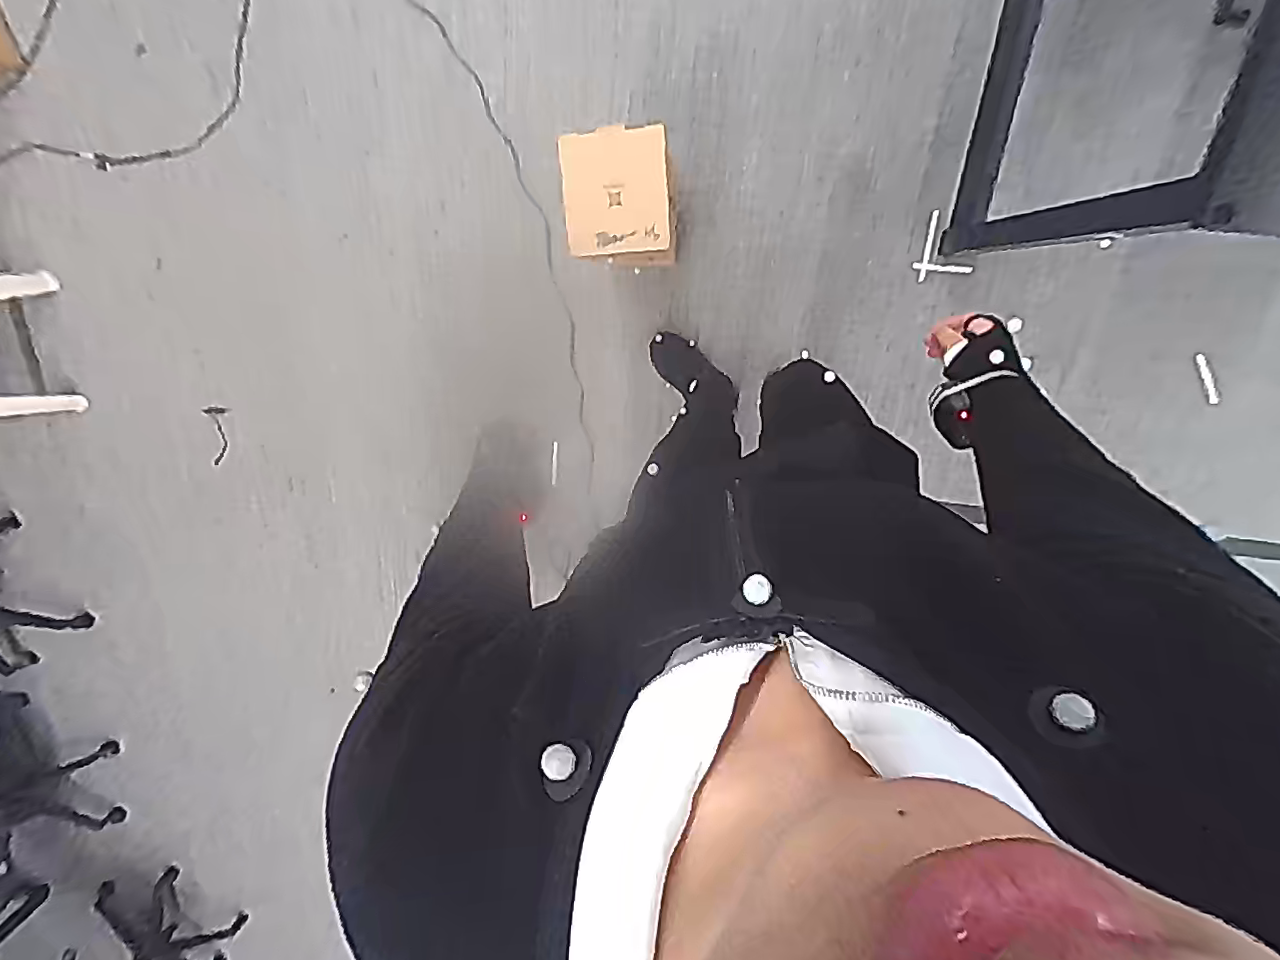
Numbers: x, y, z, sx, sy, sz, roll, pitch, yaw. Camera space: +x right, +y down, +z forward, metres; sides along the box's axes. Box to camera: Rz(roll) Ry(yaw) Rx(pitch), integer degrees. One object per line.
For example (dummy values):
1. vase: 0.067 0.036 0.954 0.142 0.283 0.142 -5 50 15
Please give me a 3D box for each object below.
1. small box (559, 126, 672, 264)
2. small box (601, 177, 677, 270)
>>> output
1. small box: -0.033 -0.472 0.919 0.168 0.176 0.179 -2 108 6
2. small box: -0.002 -0.576 1.227 0.168 0.176 0.179 3 110 5
